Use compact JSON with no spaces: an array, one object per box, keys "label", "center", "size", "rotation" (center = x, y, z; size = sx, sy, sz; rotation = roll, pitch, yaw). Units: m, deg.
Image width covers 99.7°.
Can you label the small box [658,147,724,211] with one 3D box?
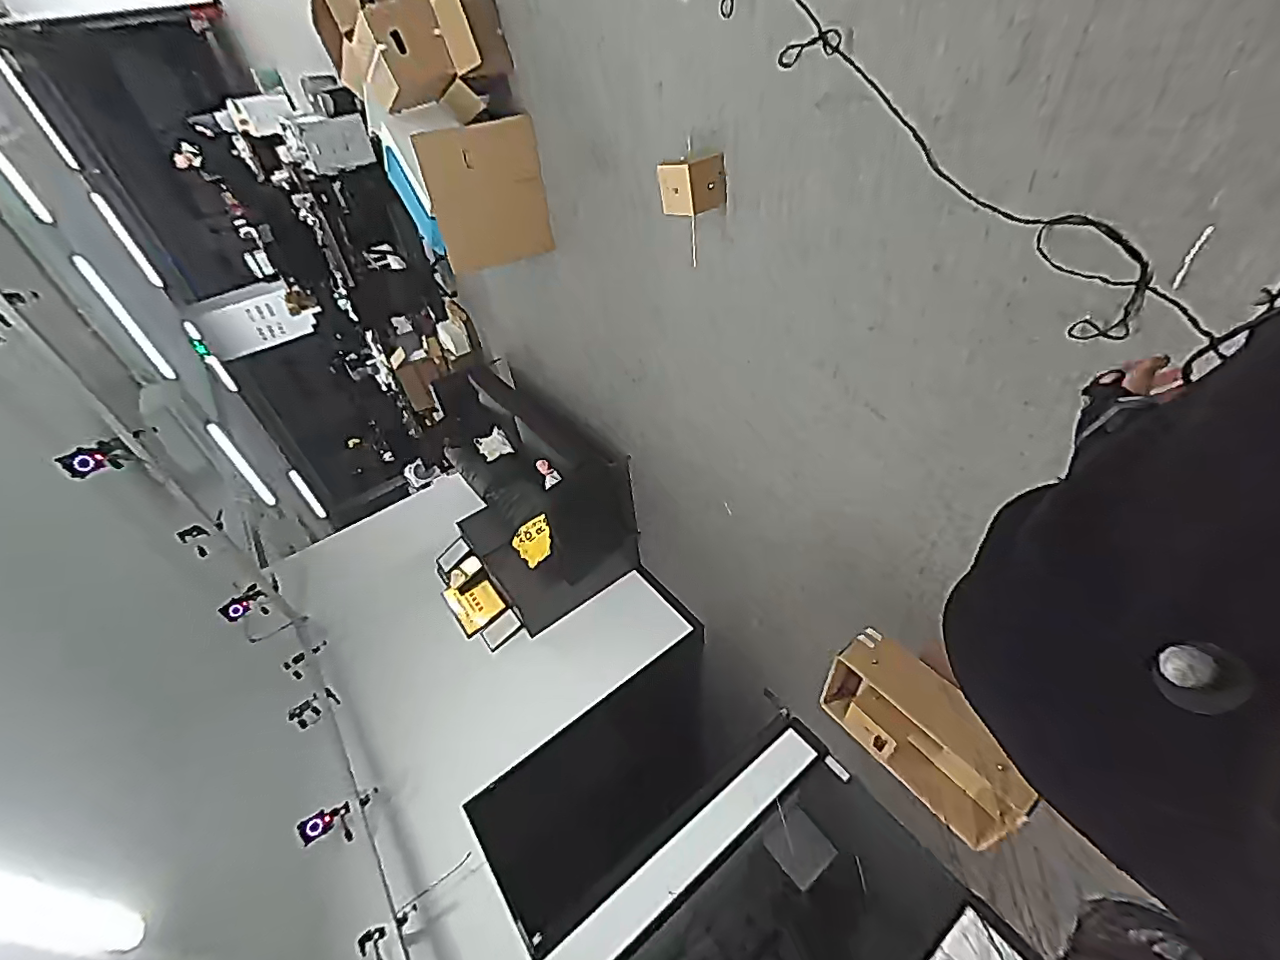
[{"label":"small box","center":[0.192,-1.093,1.958],"size":[0.179,0.176,0.168],"rotation":[35,148,45]}]
